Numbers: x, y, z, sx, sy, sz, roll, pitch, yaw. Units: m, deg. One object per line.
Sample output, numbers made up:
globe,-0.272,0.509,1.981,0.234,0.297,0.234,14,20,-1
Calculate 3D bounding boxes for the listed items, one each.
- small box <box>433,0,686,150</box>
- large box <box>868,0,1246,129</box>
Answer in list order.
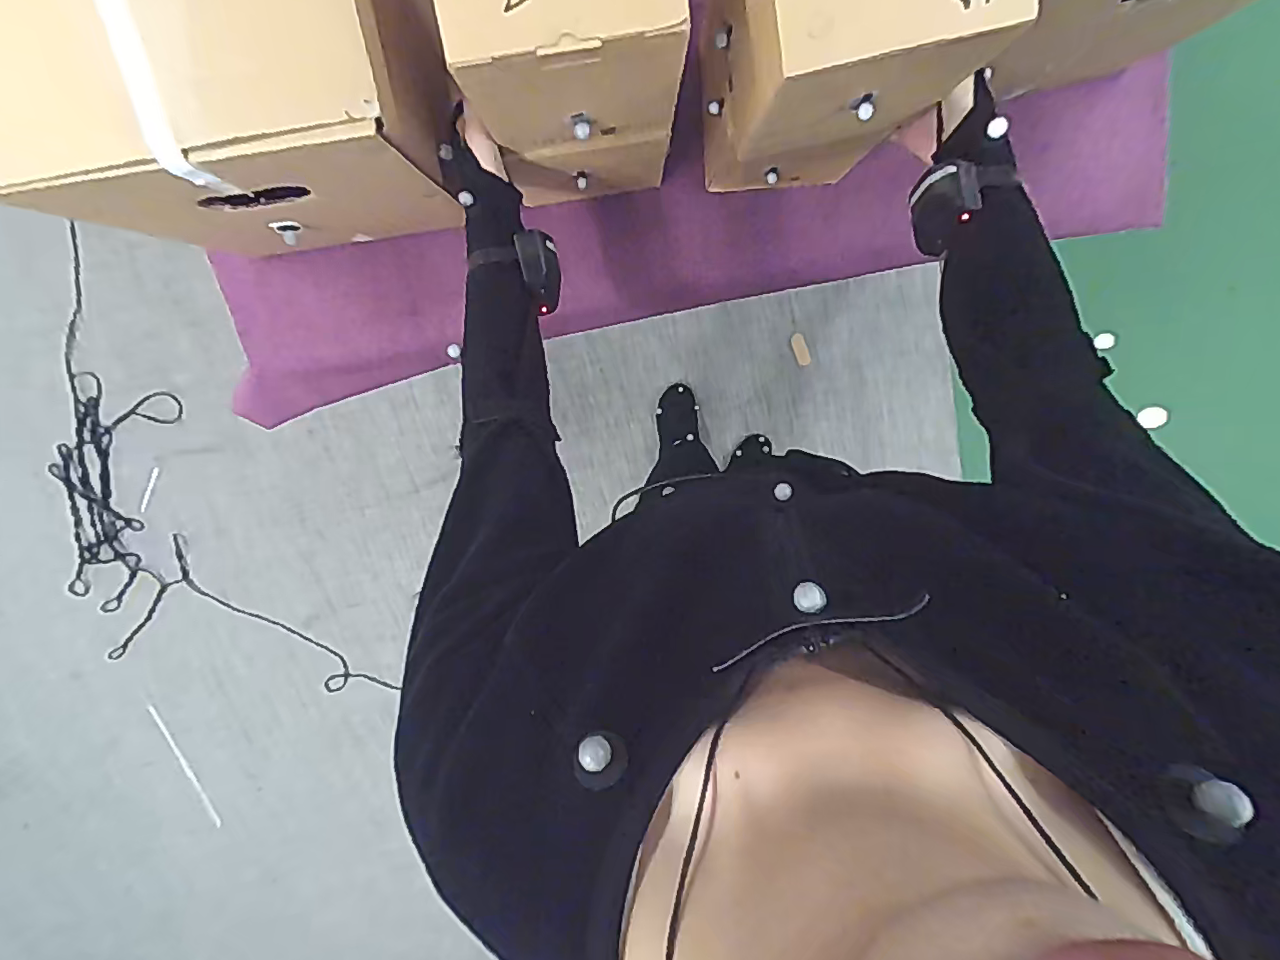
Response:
small box,-0.063,-0.389,0.416,0.168,0.176,0.179,-8,103,1
large box,0.401,-0.617,0.473,0.320,0.320,0.408,-13,104,4
